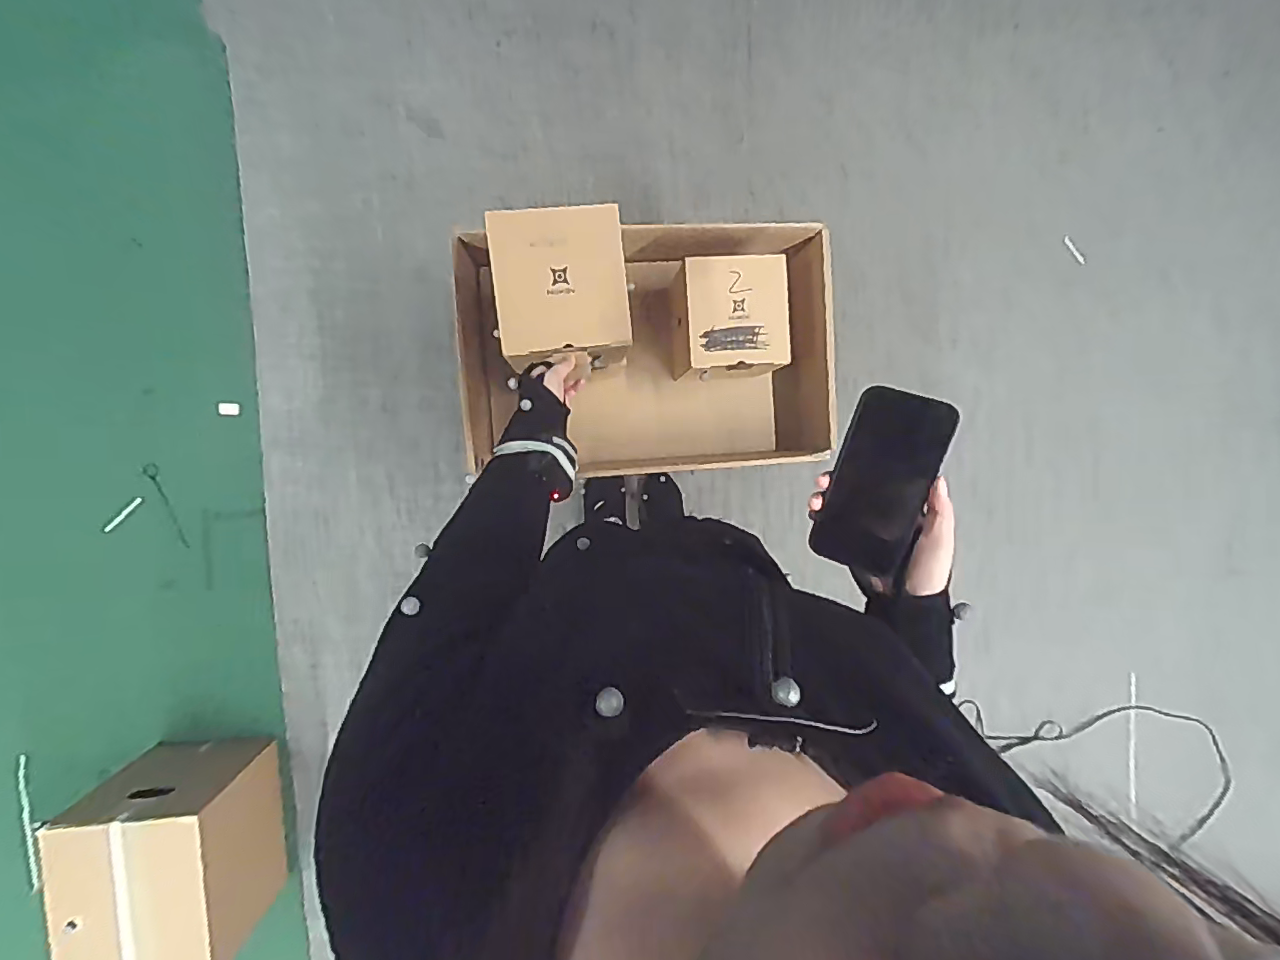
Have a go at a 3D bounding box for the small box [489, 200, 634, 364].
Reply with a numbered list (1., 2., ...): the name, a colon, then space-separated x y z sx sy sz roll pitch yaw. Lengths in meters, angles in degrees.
1. small box: -0.102 -0.259 0.746 0.168 0.176 0.179 -7 95 -6
